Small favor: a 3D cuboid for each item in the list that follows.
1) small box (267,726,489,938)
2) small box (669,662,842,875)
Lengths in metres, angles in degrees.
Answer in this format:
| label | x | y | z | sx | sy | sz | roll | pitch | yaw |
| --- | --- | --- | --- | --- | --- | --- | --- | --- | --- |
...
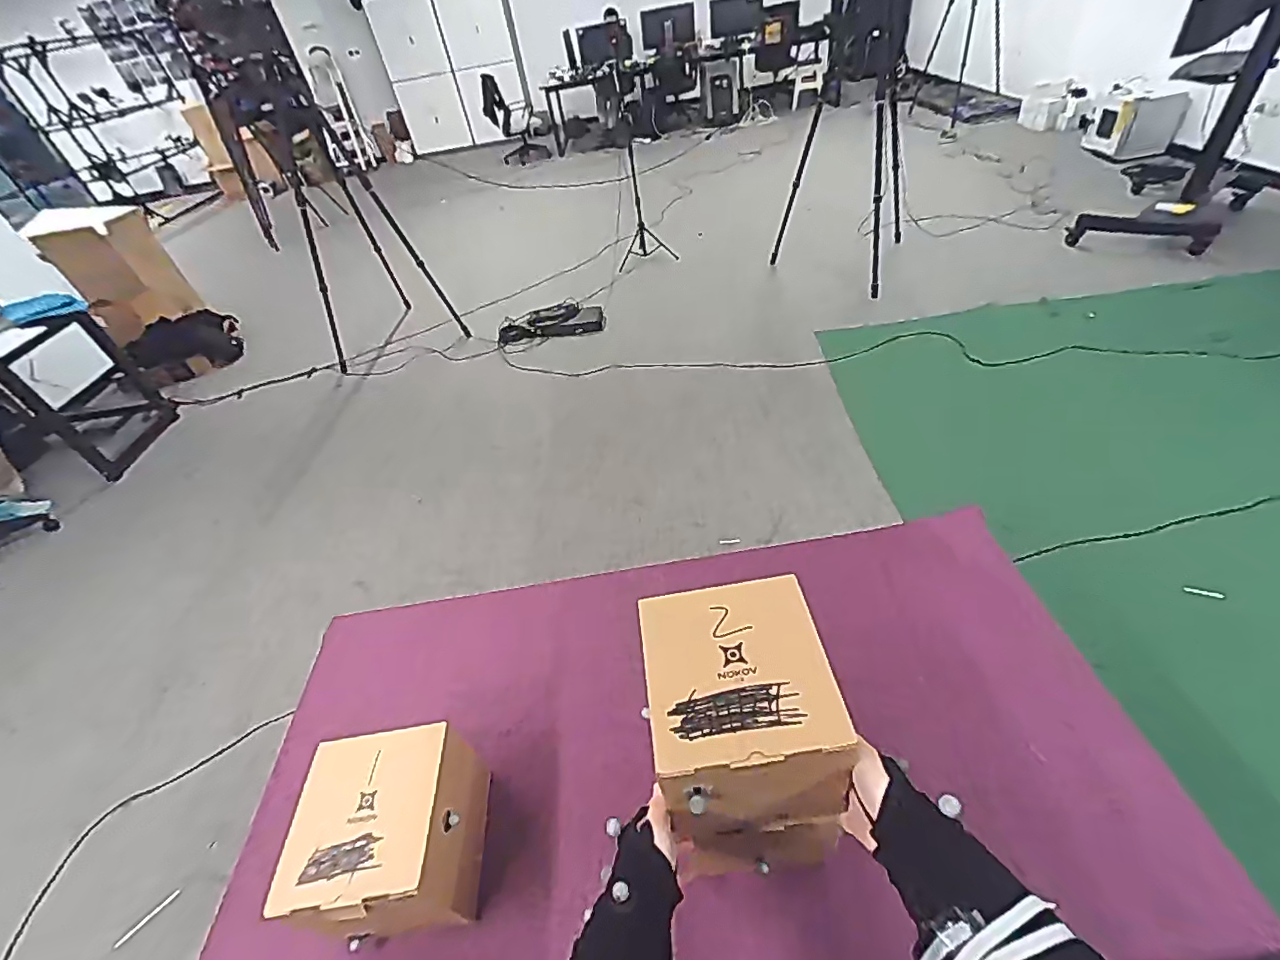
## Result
| label | x | y | z | sx | sy | sz | roll | pitch | yaw |
| --- | --- | --- | --- | --- | --- | --- | --- | --- | --- |
| small box | -0.297 | 0.434 | 0.662 | 0.168 | 0.176 | 0.179 | -10 | 41 | 2 |
| small box | 0.129 | 0.348 | 0.654 | 0.168 | 0.176 | 0.179 | -9 | 42 | 5 |
